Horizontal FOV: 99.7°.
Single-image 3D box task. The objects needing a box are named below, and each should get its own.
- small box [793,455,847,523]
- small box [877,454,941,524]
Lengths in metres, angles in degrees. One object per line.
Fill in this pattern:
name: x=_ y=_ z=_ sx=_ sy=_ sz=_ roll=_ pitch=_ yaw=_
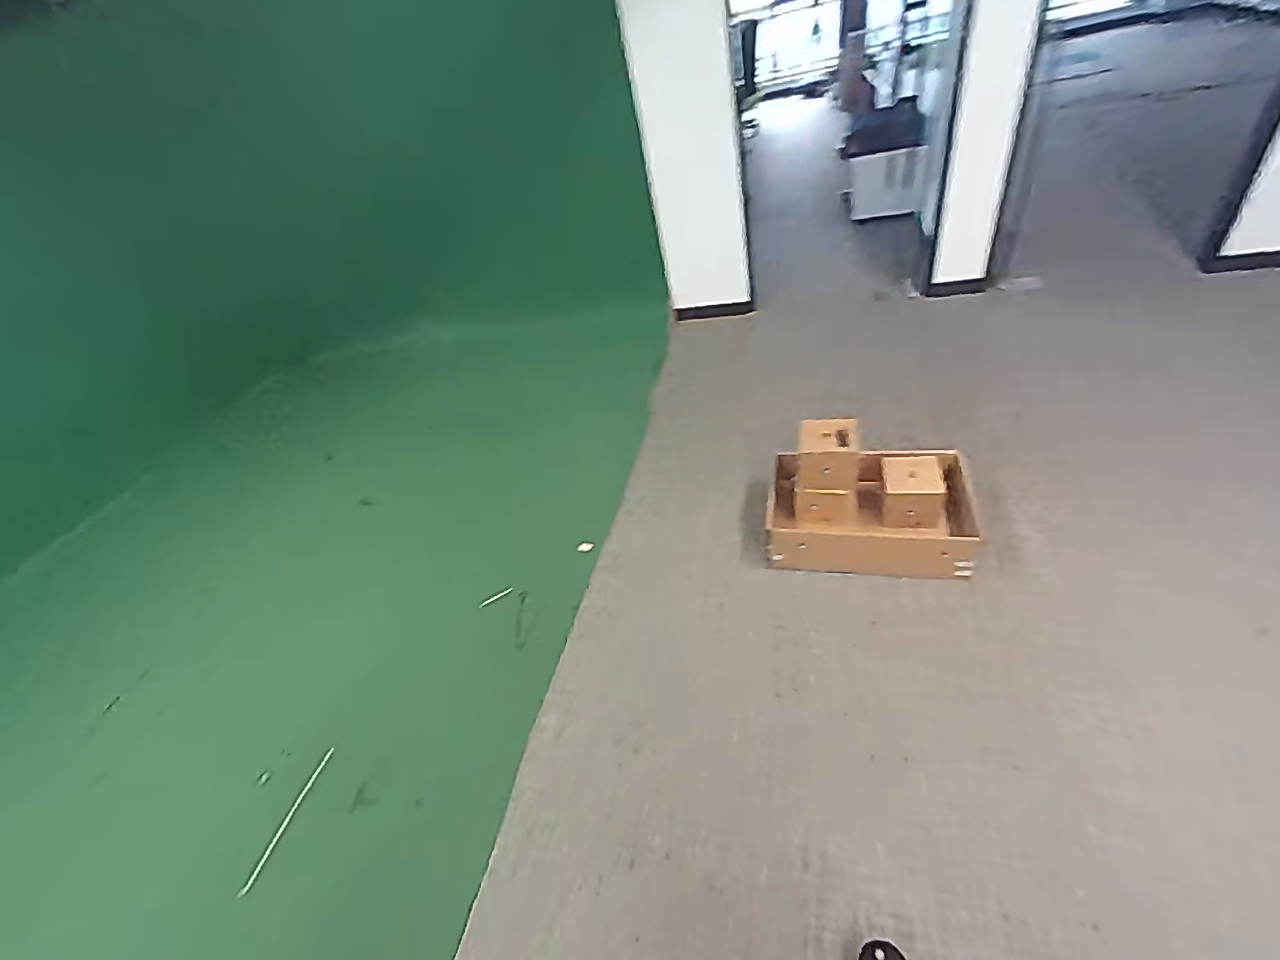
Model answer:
small box: x=0.630 y=0.032 z=1.887 sx=0.168 sy=0.176 sz=0.179 roll=4 pitch=45 yaw=20
small box: x=0.891 y=0.033 z=1.800 sx=0.168 sy=0.176 sz=0.179 roll=0 pitch=44 yaw=18
